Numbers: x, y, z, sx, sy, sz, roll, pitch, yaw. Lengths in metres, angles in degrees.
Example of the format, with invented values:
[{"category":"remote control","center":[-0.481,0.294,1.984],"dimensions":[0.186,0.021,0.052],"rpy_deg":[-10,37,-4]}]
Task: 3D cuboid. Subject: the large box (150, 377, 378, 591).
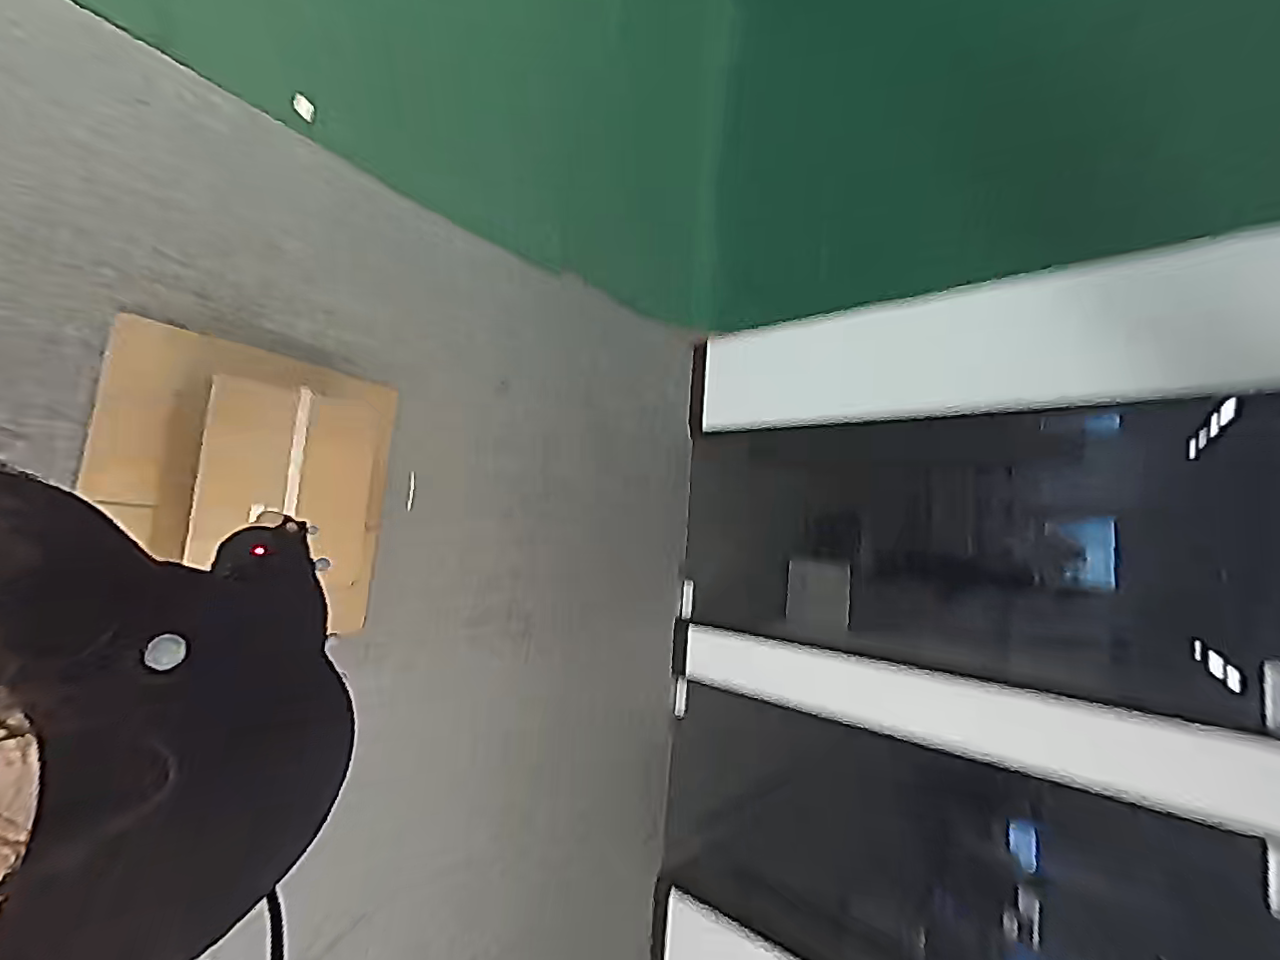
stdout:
[{"category":"large box","center":[-0.825,0.015,1.195],"dimensions":[0.320,0.320,0.408],"rpy_deg":[11,82,-50]}]
